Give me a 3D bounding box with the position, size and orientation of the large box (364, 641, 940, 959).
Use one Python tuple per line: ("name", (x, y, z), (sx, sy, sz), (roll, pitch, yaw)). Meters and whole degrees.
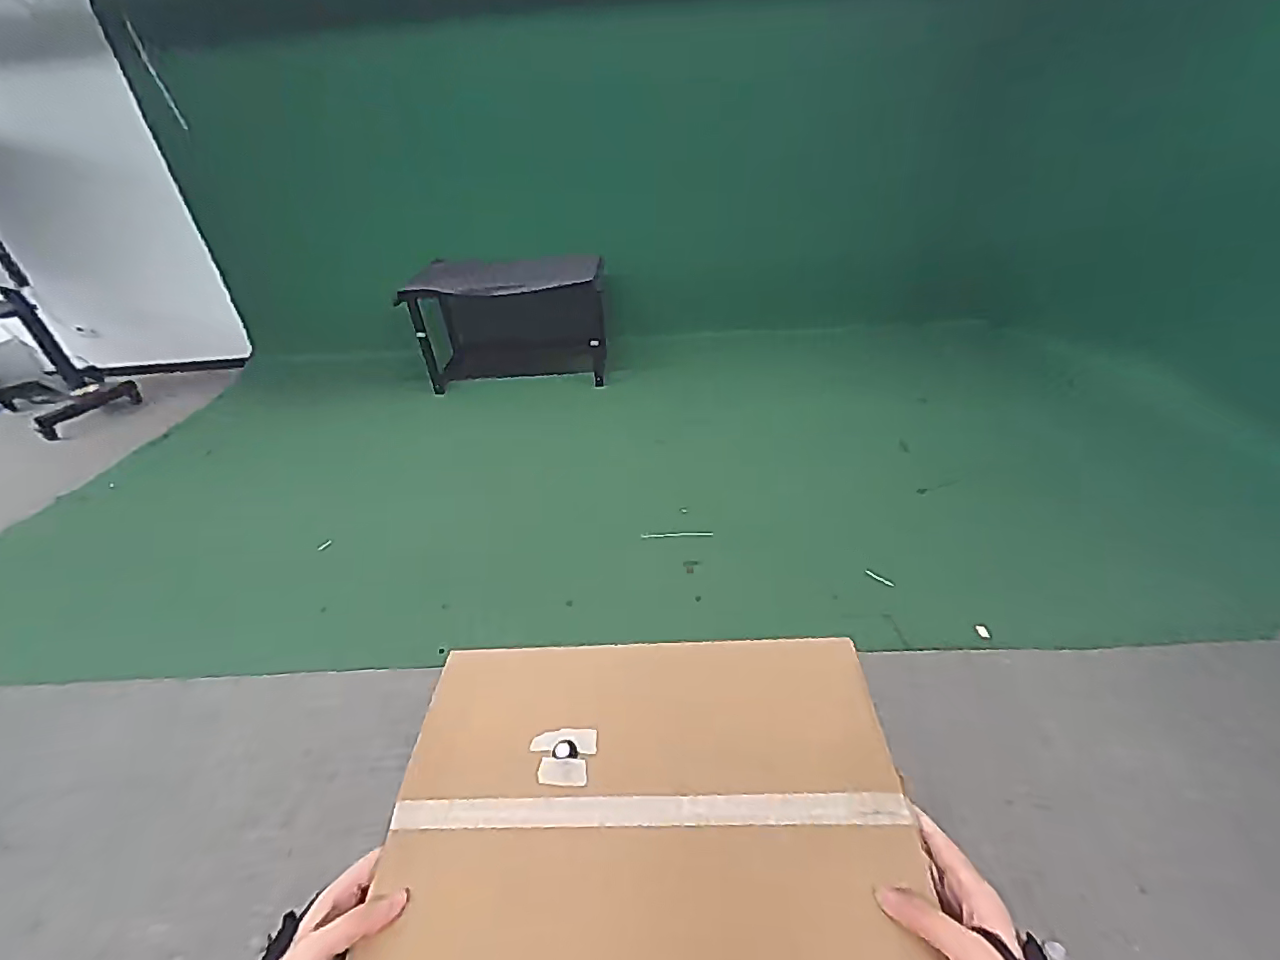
("large box", (0.020, 0.387, 0.528), (0.408, 0.320, 0.320), (-5, 39, 6))
